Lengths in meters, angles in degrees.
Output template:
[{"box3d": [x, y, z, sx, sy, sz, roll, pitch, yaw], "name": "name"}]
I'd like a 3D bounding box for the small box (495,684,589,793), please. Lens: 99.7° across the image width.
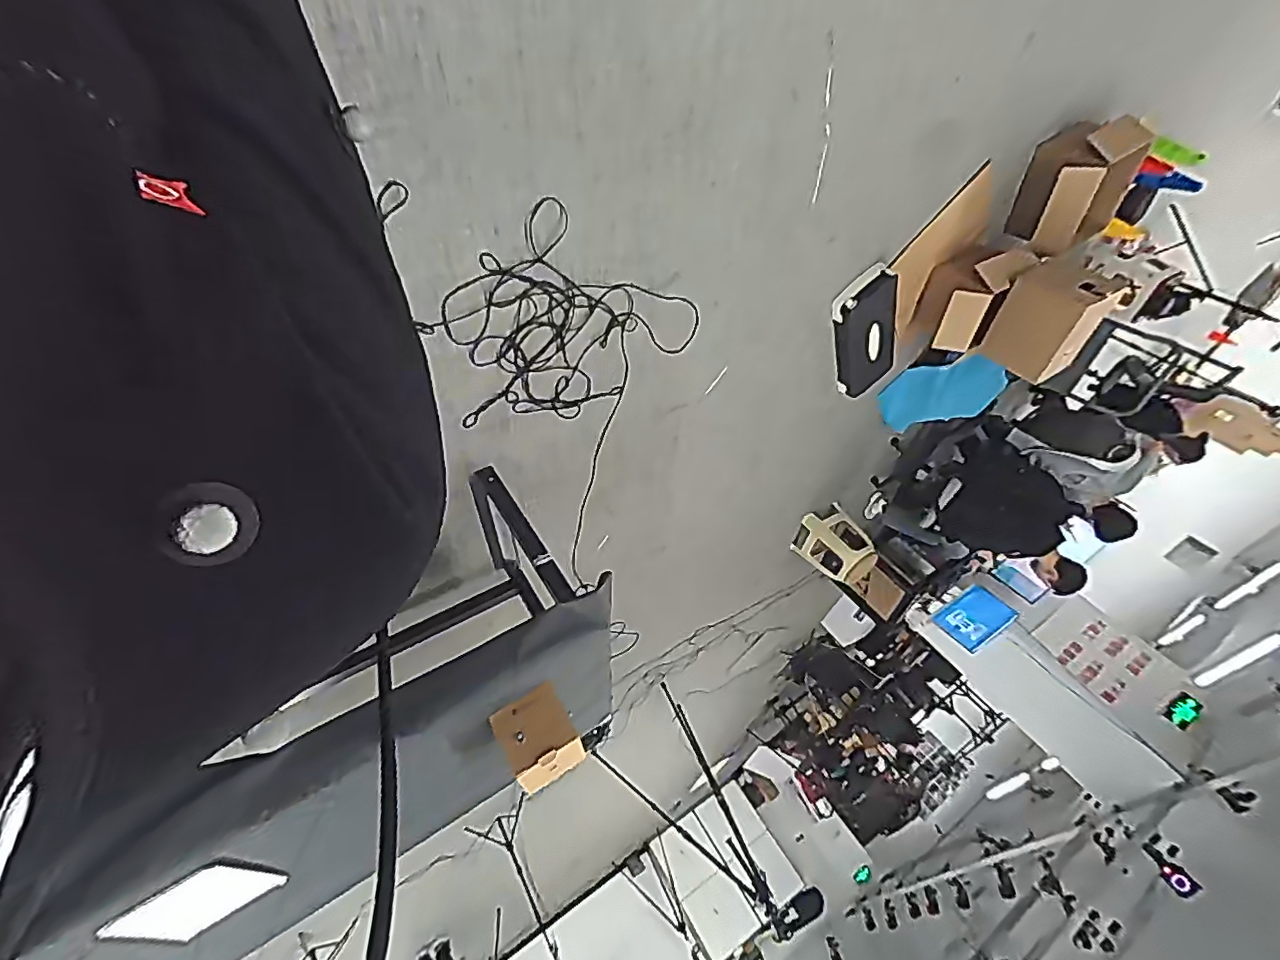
[{"box3d": [-0.246, 0.641, 1.356, 0.168, 0.176, 0.179, -26, 144, -18], "name": "small box"}]
